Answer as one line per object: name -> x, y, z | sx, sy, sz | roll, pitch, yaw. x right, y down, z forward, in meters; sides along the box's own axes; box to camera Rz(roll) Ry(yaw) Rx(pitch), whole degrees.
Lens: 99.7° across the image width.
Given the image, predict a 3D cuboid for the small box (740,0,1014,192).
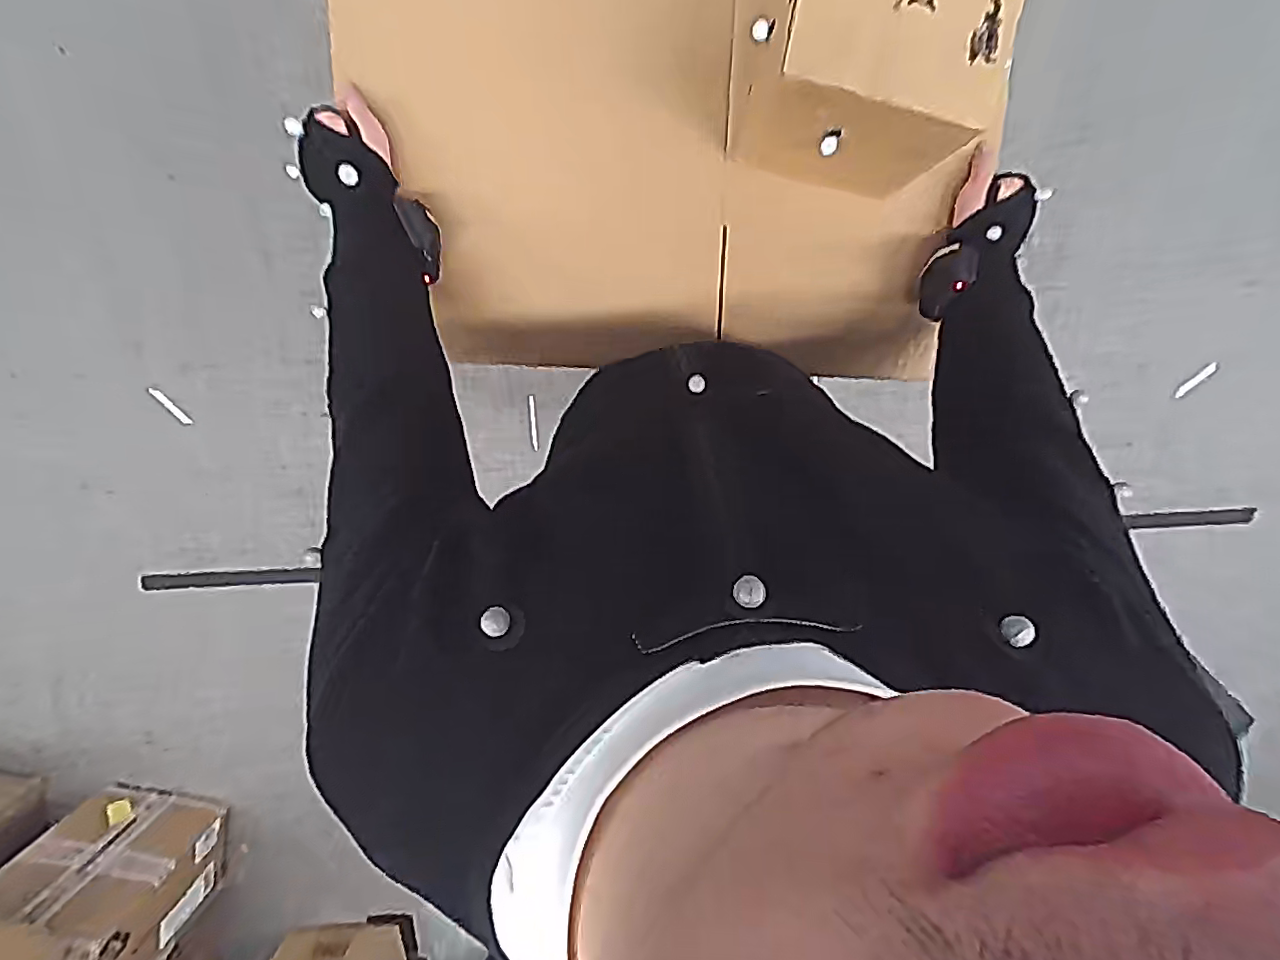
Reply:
small box -> 0.204, -0.393, 0.499 | 0.179, 0.176, 0.168 | 11, 99, -4
